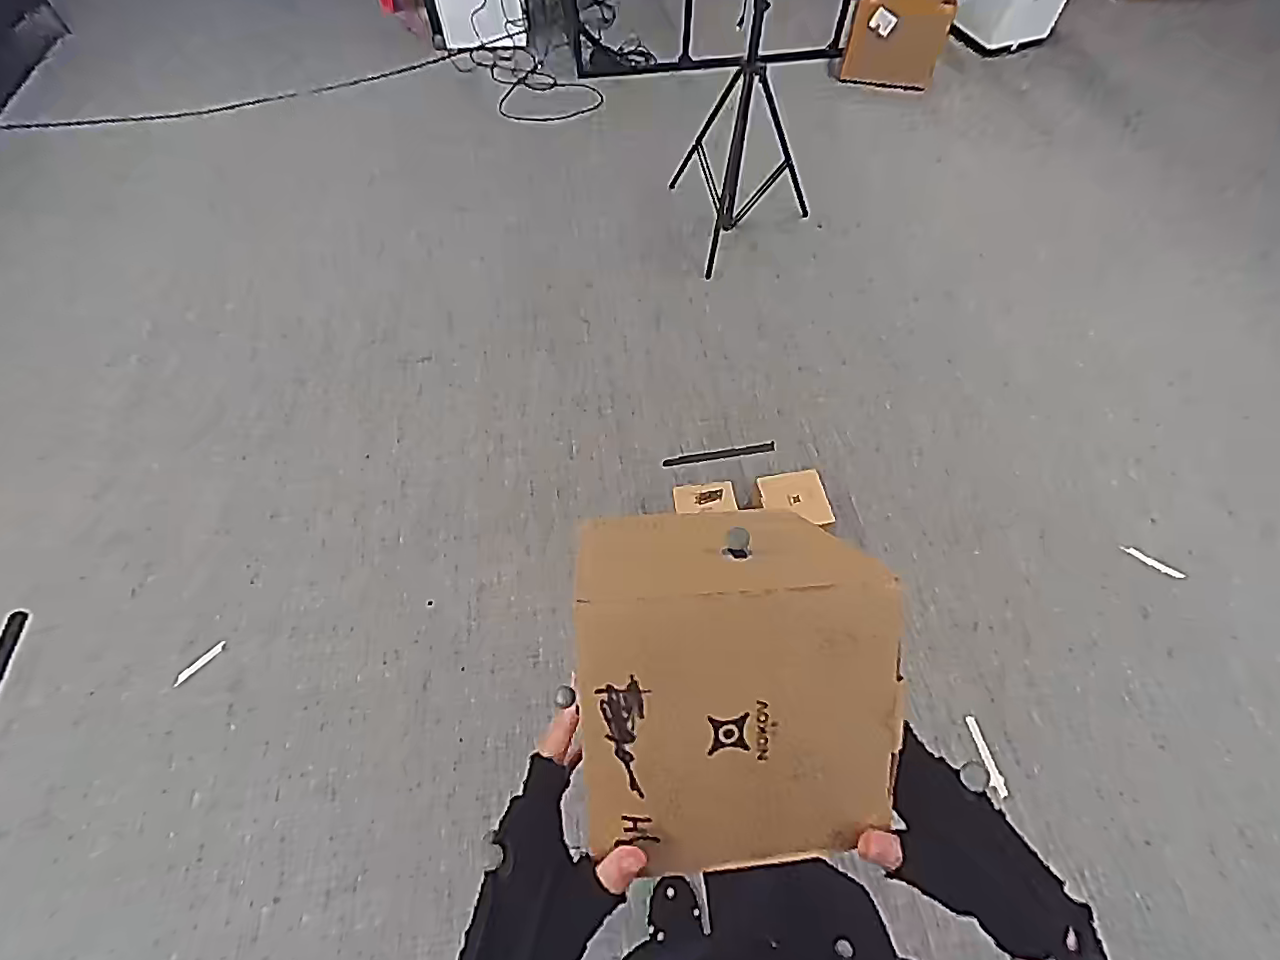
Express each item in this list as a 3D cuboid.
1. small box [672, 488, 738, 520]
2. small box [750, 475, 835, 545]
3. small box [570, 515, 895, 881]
[{"bbox_3d":[0.181,0.142,1.502,0.168,0.176,0.179,-6,61,-3],"label":"small box"},{"bbox_3d":[0.417,0.107,1.522,0.179,0.176,0.168,-9,62,-5],"label":"small box"},{"bbox_3d":[0.044,0.123,0.372,0.179,0.176,0.168,-3,99,-6],"label":"small box"}]
